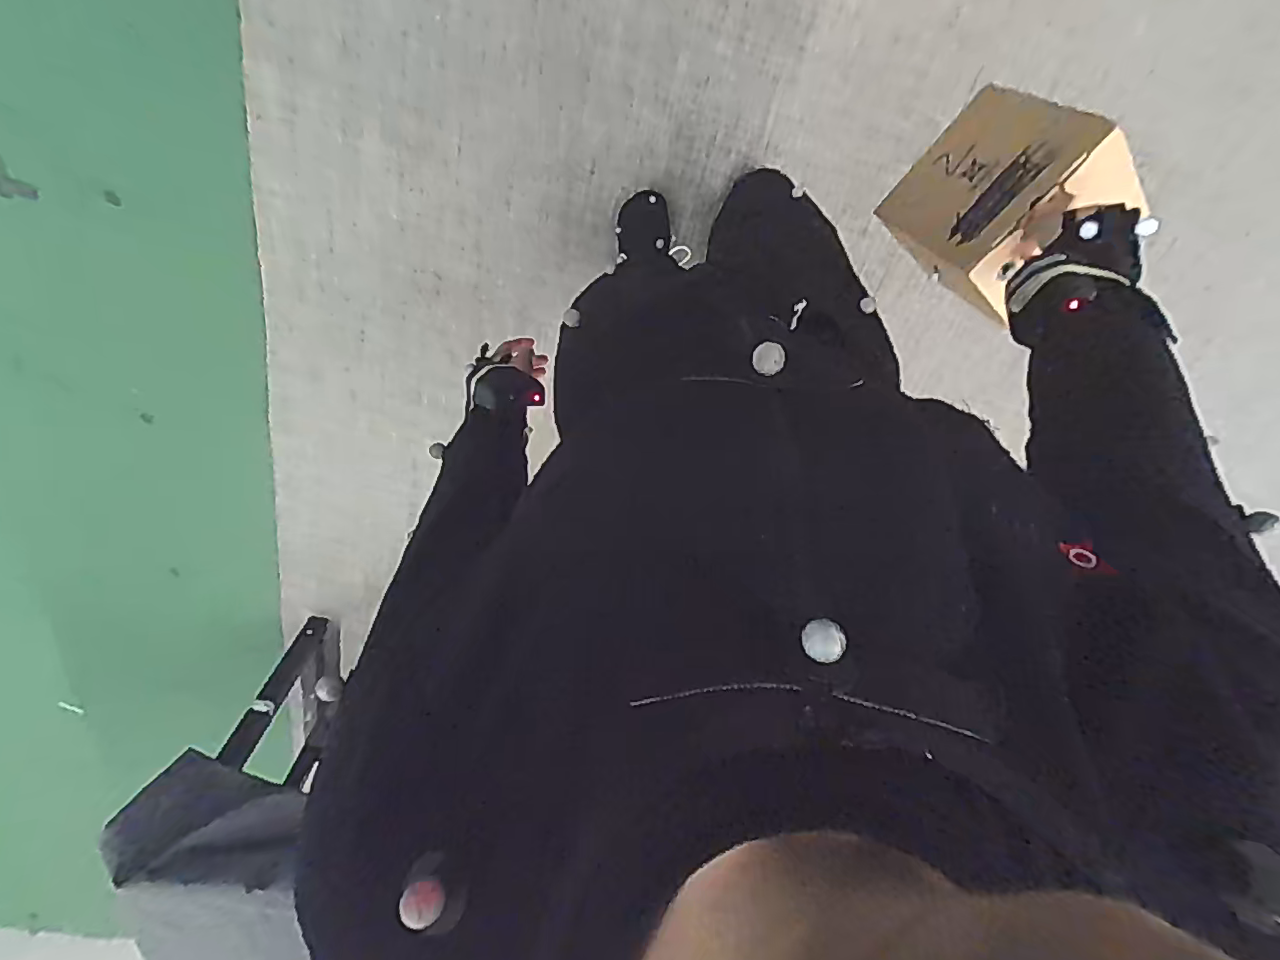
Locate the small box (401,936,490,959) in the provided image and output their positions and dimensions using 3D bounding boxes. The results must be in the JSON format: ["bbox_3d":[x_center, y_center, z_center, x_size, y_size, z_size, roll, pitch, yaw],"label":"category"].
[{"bbox_3d":[-0.435,1.102,1.142,0.179,0.176,0.168,19,119,-14],"label":"small box"}]
